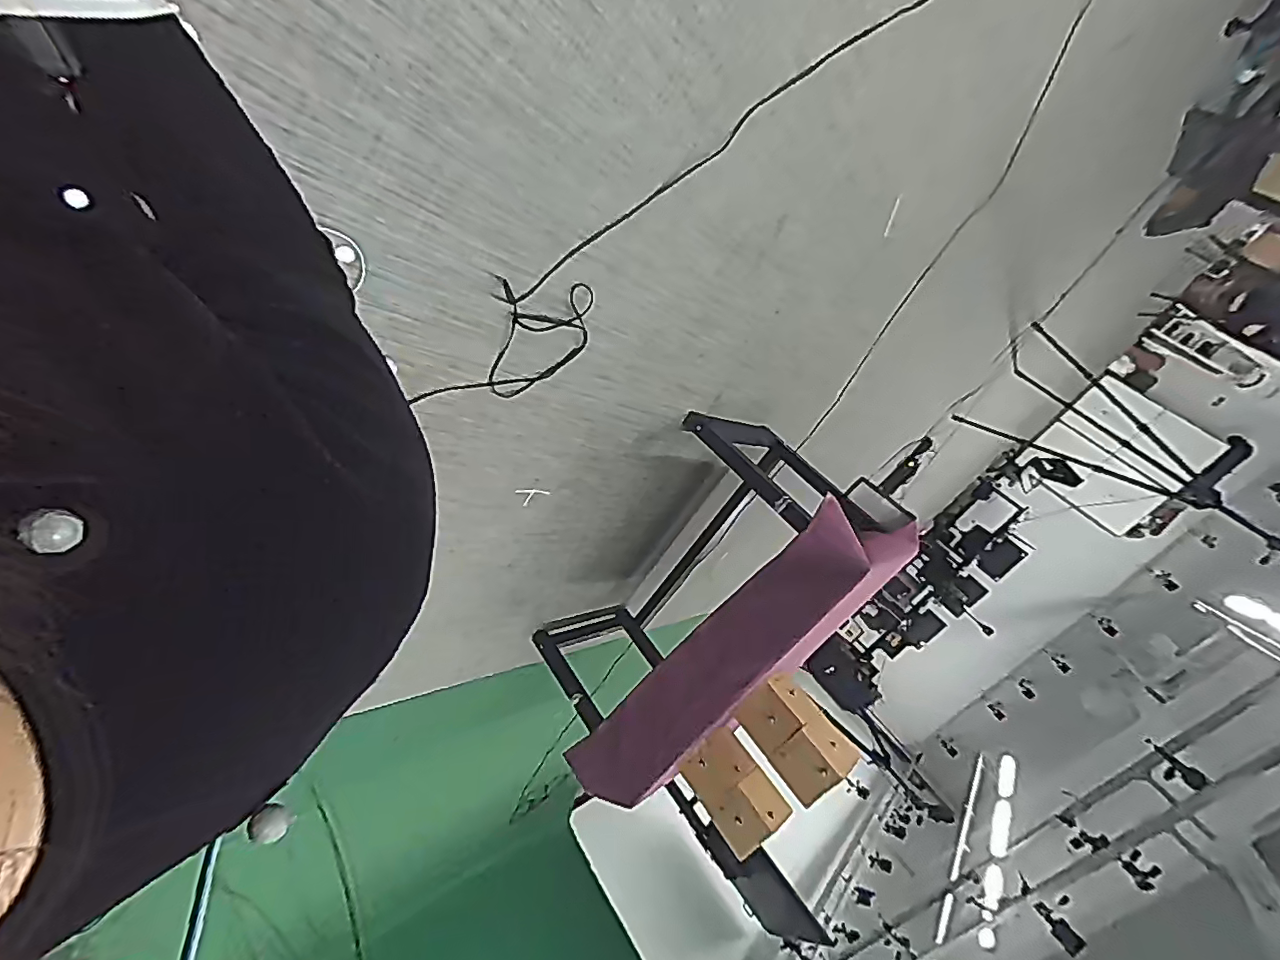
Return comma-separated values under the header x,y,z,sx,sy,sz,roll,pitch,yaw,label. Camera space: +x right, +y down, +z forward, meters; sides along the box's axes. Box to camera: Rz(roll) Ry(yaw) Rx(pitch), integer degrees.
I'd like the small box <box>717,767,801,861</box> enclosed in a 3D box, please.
x,y,z,sx,sy,sz,roll,pitch,yaw,label
0.383,1.079,1.759,0.179,0.176,0.168,7,125,-54,small box

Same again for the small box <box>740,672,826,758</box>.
x,y,z,sx,sy,sz,roll,pitch,yaw,label
0.452,0.735,1.722,0.168,0.176,0.179,7,124,-54,small box

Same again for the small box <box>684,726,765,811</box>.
x,y,z,sx,sy,sz,roll,pitch,yaw,label
0.286,0.972,1.839,0.179,0.176,0.168,9,123,-54,small box
